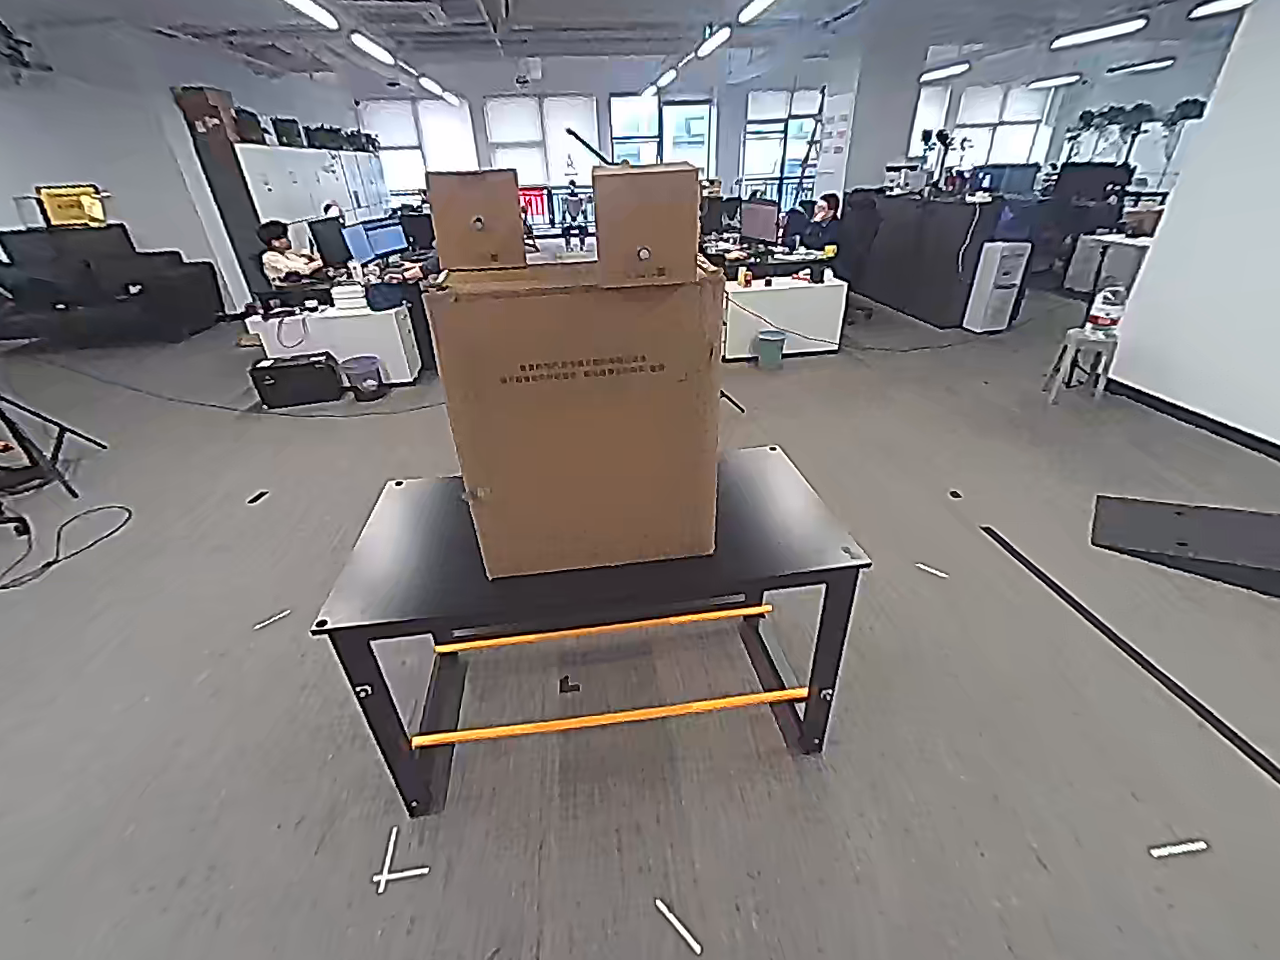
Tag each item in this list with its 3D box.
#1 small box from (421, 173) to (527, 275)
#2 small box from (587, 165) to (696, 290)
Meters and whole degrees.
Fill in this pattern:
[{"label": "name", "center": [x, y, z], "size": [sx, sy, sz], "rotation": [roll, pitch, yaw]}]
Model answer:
[{"label": "small box", "center": [-0.320, -0.508, 1.077], "size": [0.168, 0.176, 0.179], "rotation": [-7, 30, -8]}, {"label": "small box", "center": [0.005, -0.431, 0.923], "size": [0.168, 0.176, 0.179], "rotation": [-5, 34, 1]}]
